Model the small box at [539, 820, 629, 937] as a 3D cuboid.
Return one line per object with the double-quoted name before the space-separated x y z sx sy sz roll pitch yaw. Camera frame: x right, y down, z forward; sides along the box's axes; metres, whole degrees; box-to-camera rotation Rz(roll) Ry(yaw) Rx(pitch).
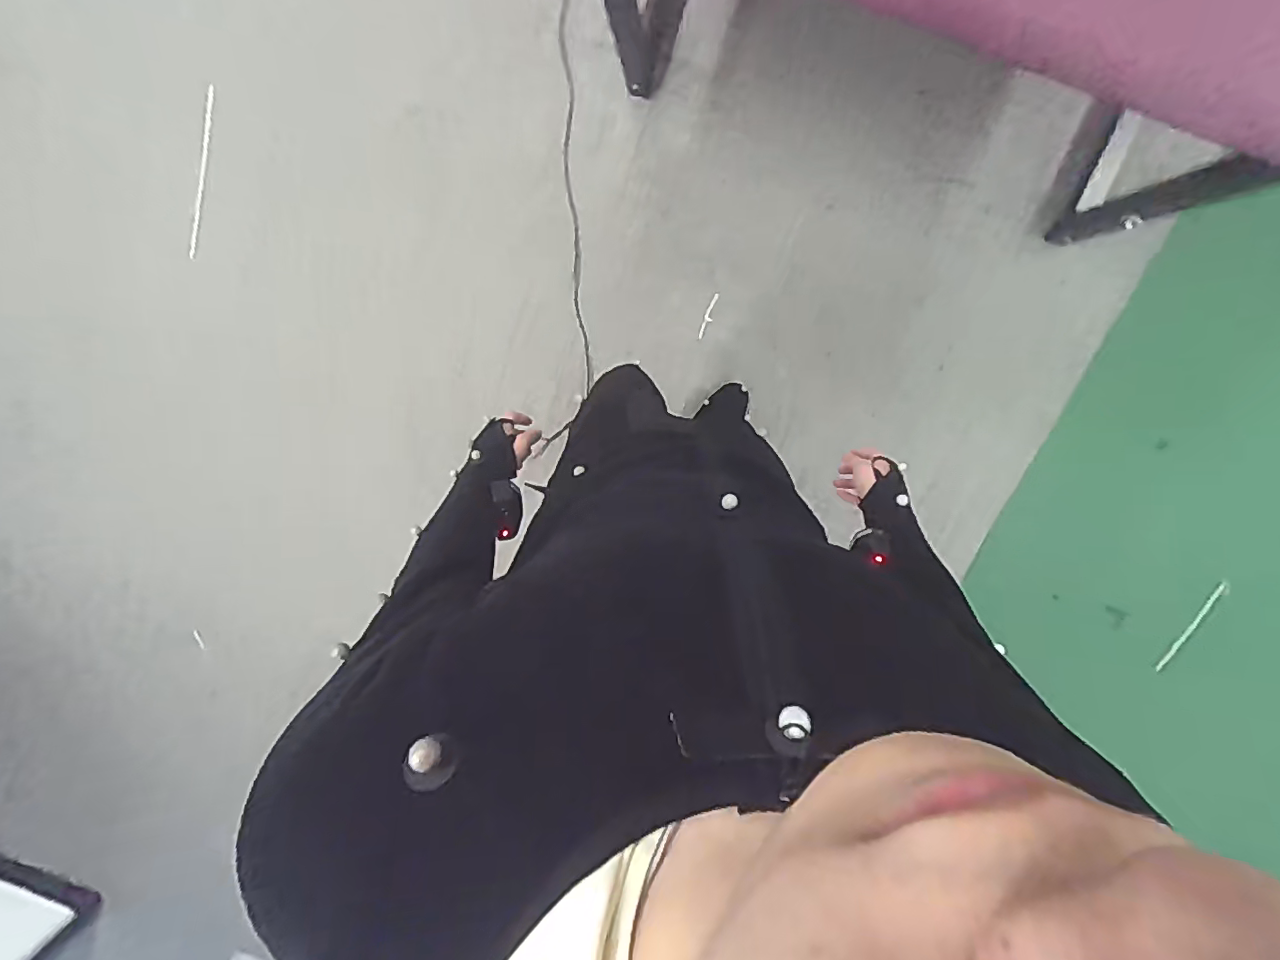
"small box" -0.146 1.087 1.487 0.179 0.176 0.168 29 105 -1
